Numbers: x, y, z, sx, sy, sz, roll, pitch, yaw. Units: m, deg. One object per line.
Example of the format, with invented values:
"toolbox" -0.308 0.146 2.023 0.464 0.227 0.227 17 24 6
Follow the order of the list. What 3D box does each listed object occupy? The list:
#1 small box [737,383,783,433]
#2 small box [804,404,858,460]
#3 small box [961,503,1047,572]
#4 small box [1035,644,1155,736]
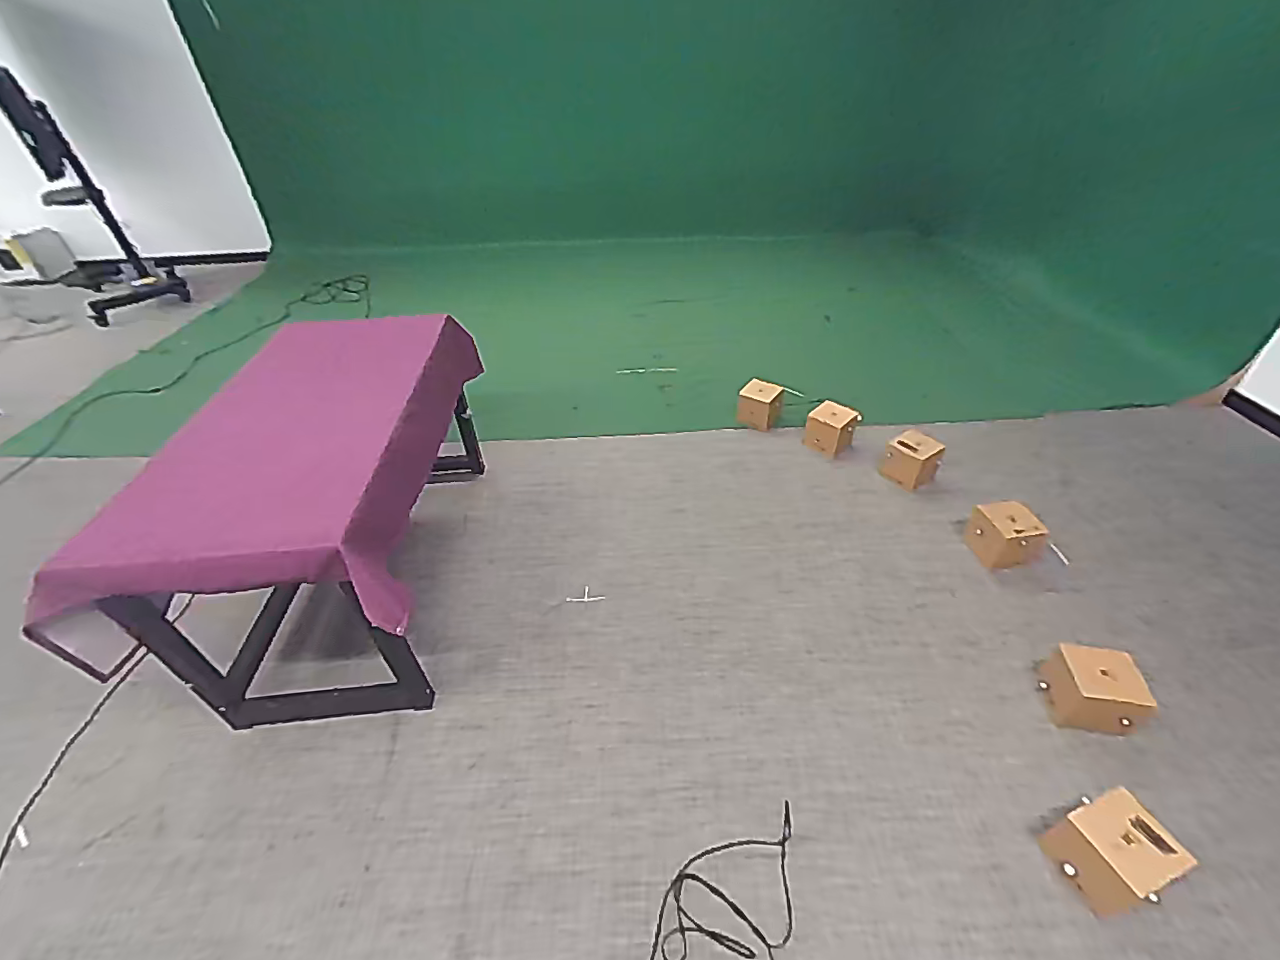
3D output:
"small box" 0.594 -0.357 2.696 0.168 0.176 0.179 24 45 27
"small box" 0.884 -0.224 2.523 0.168 0.176 0.179 31 50 34
"small box" 1.313 0.207 1.965 0.168 0.176 0.179 -7 39 -5
"small box" 1.253 0.586 1.504 0.179 0.176 0.168 6 39 10
